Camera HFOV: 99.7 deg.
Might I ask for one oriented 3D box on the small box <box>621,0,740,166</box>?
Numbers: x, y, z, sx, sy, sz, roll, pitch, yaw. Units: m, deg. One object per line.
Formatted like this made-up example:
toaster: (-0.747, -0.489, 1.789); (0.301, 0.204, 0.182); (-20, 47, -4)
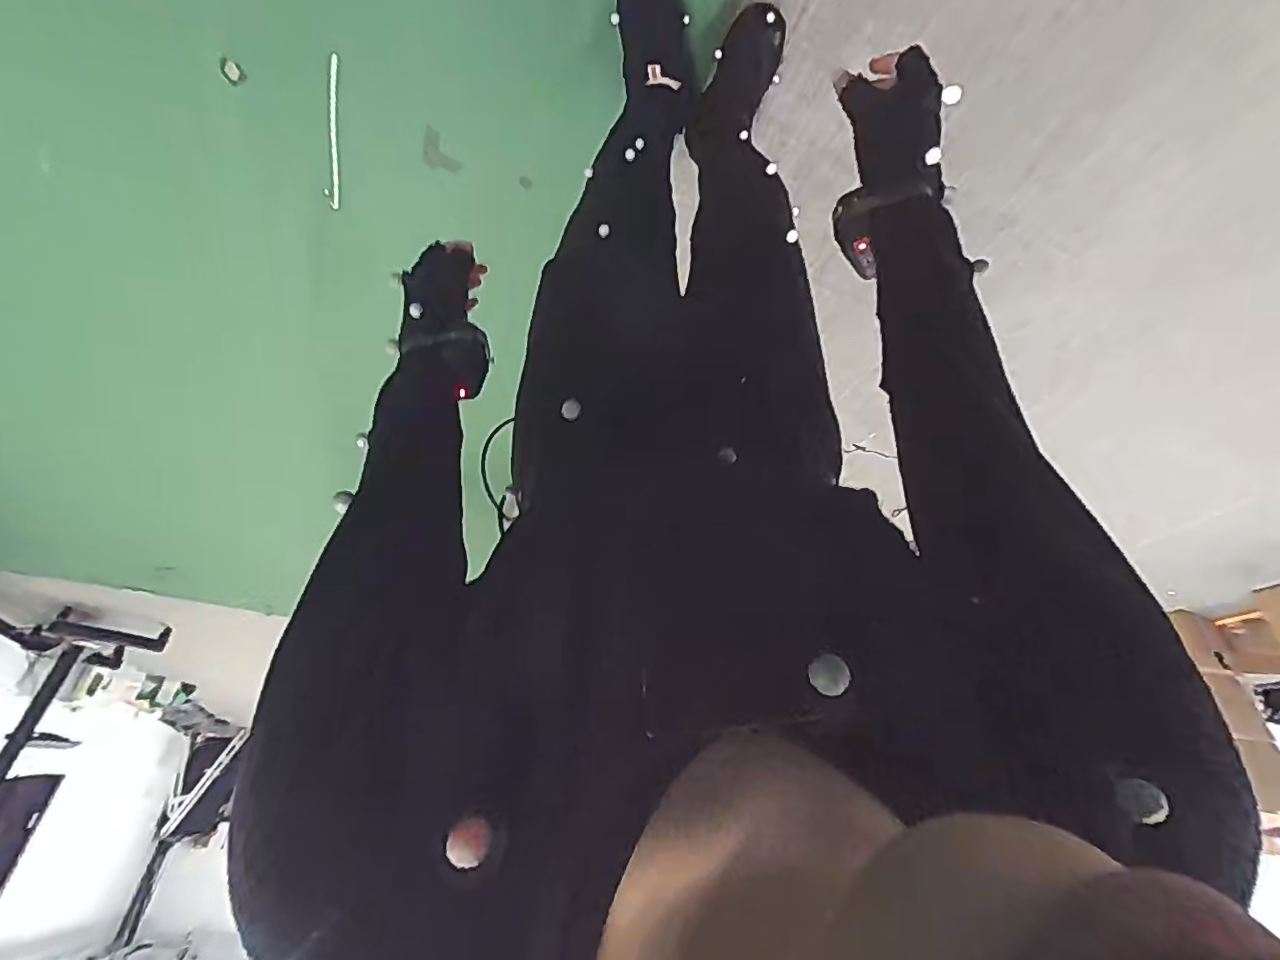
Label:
small box: (0.061, -0.707, 0.969); (0.168, 0.176, 0.179); (0, 149, -13)
